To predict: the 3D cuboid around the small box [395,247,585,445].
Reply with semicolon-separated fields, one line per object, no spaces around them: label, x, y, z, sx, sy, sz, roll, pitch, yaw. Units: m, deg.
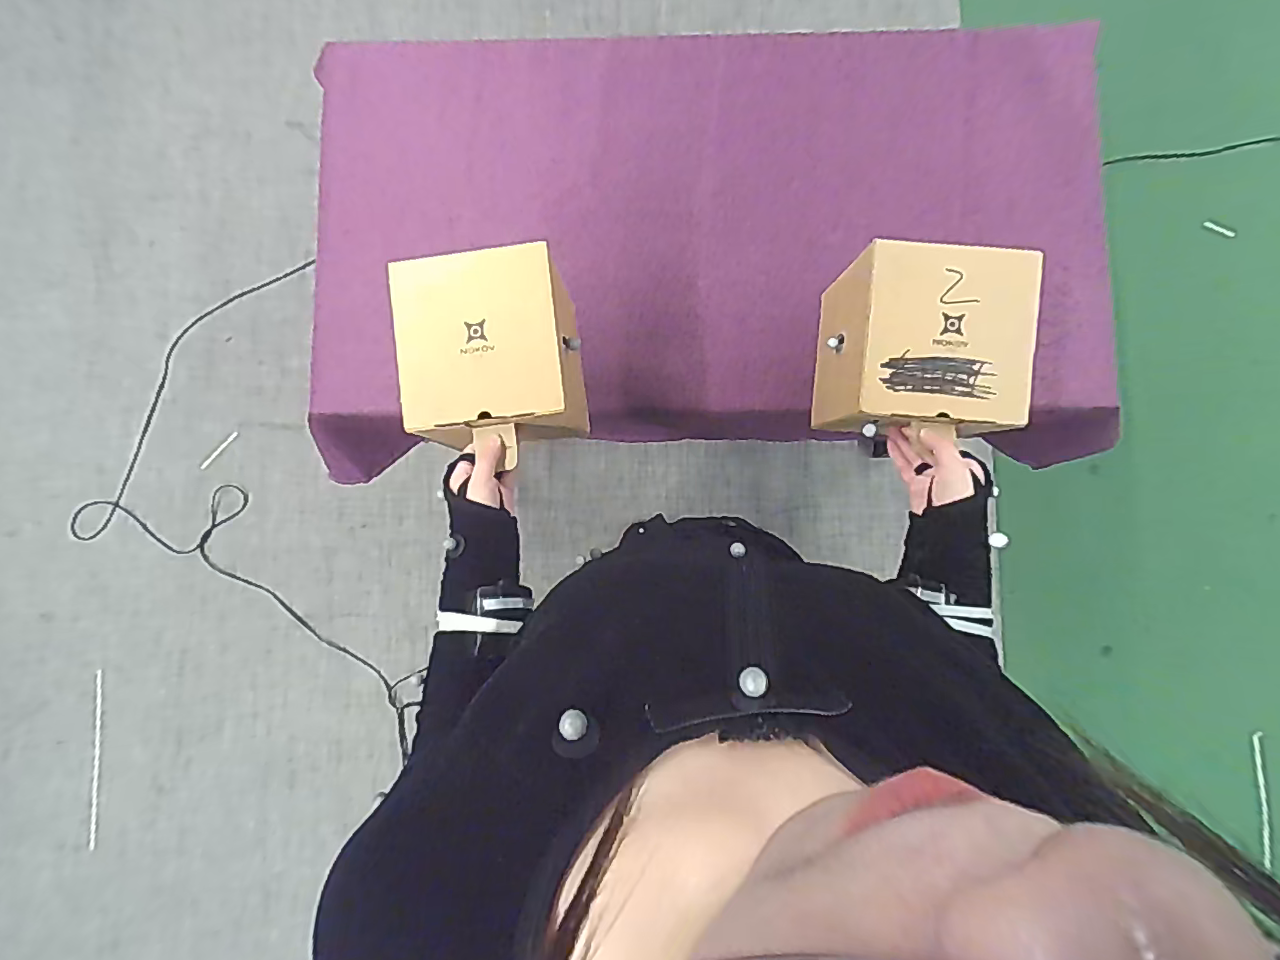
small box;-0.163;-0.144;0.636;0.168;0.176;0.179;-7;88;2
